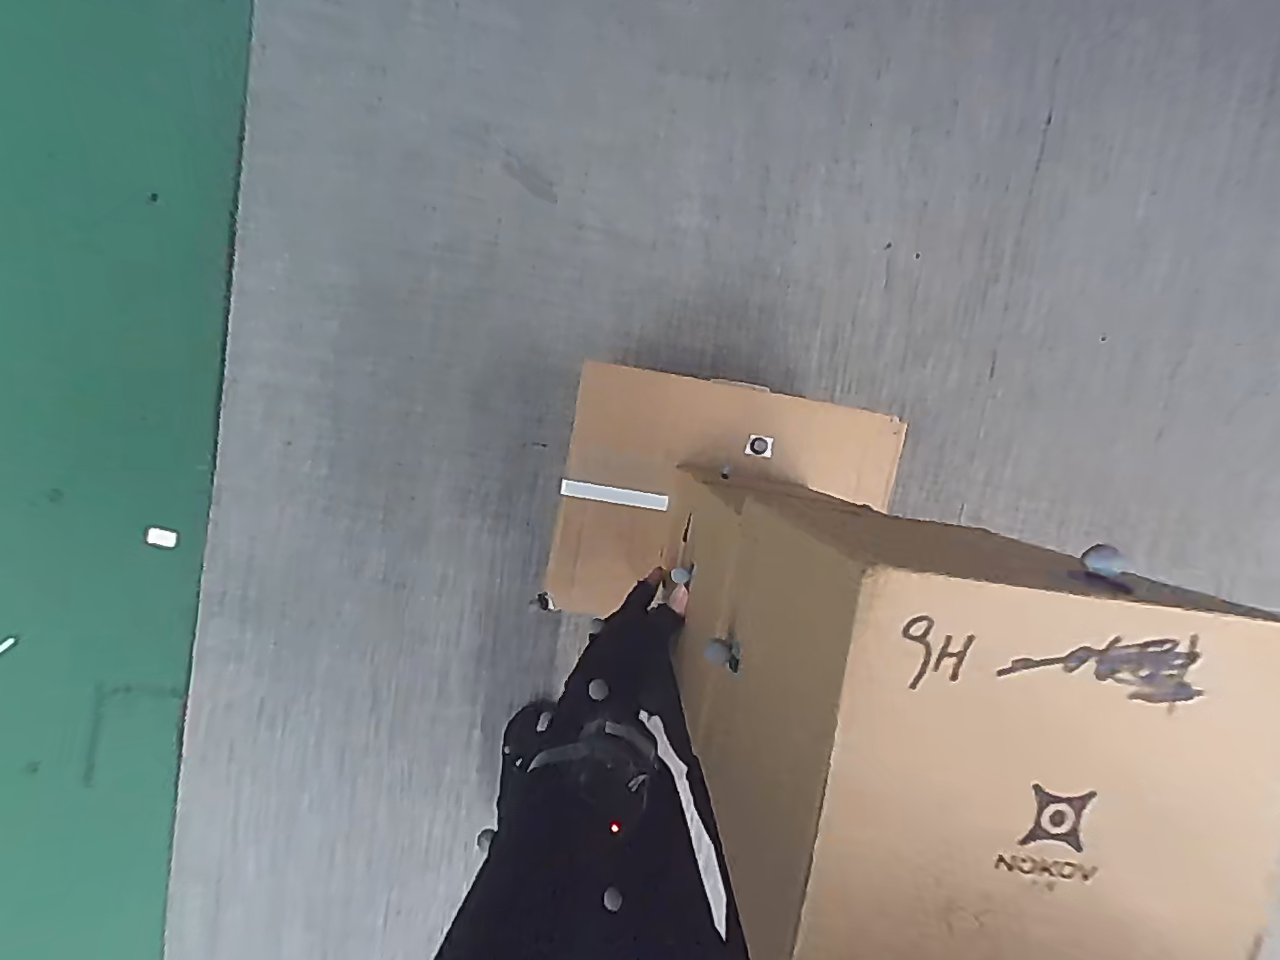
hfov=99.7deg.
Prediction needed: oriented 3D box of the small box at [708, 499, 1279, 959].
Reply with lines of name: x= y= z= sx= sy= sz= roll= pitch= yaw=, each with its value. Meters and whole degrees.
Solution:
small box: x=0.133 y=0.116 z=0.268 sx=0.168 sy=0.176 sz=0.179 roll=7 pitch=96 yaw=-2
